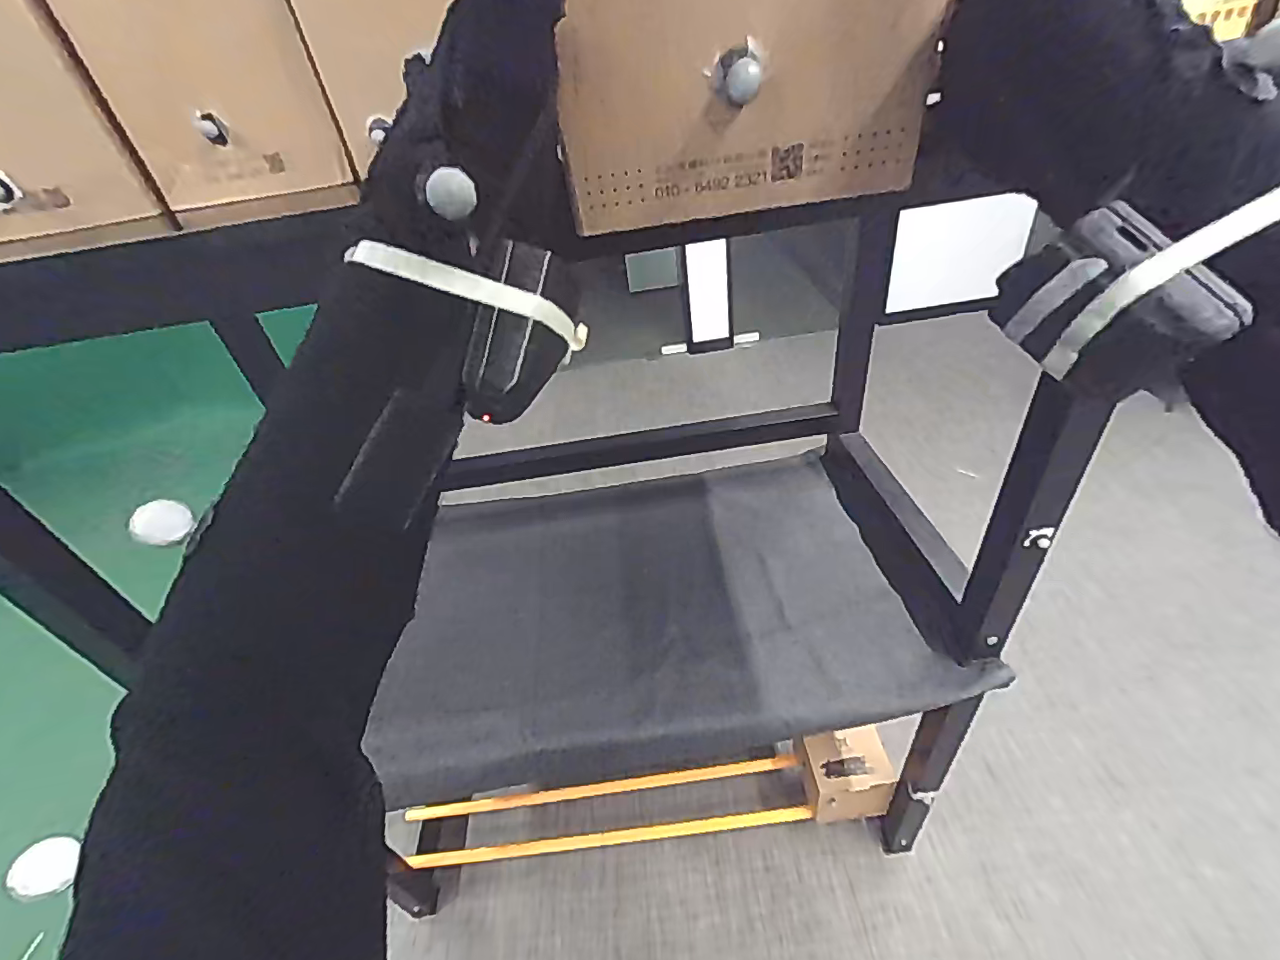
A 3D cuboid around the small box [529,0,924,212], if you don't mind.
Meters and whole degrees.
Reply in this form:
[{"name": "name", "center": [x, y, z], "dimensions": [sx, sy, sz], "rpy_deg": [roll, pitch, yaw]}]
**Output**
[{"name": "small box", "center": [0.032, -0.256, 0.275], "dimensions": [0.168, 0.176, 0.179], "rpy_deg": [-7, 43, 4]}]
